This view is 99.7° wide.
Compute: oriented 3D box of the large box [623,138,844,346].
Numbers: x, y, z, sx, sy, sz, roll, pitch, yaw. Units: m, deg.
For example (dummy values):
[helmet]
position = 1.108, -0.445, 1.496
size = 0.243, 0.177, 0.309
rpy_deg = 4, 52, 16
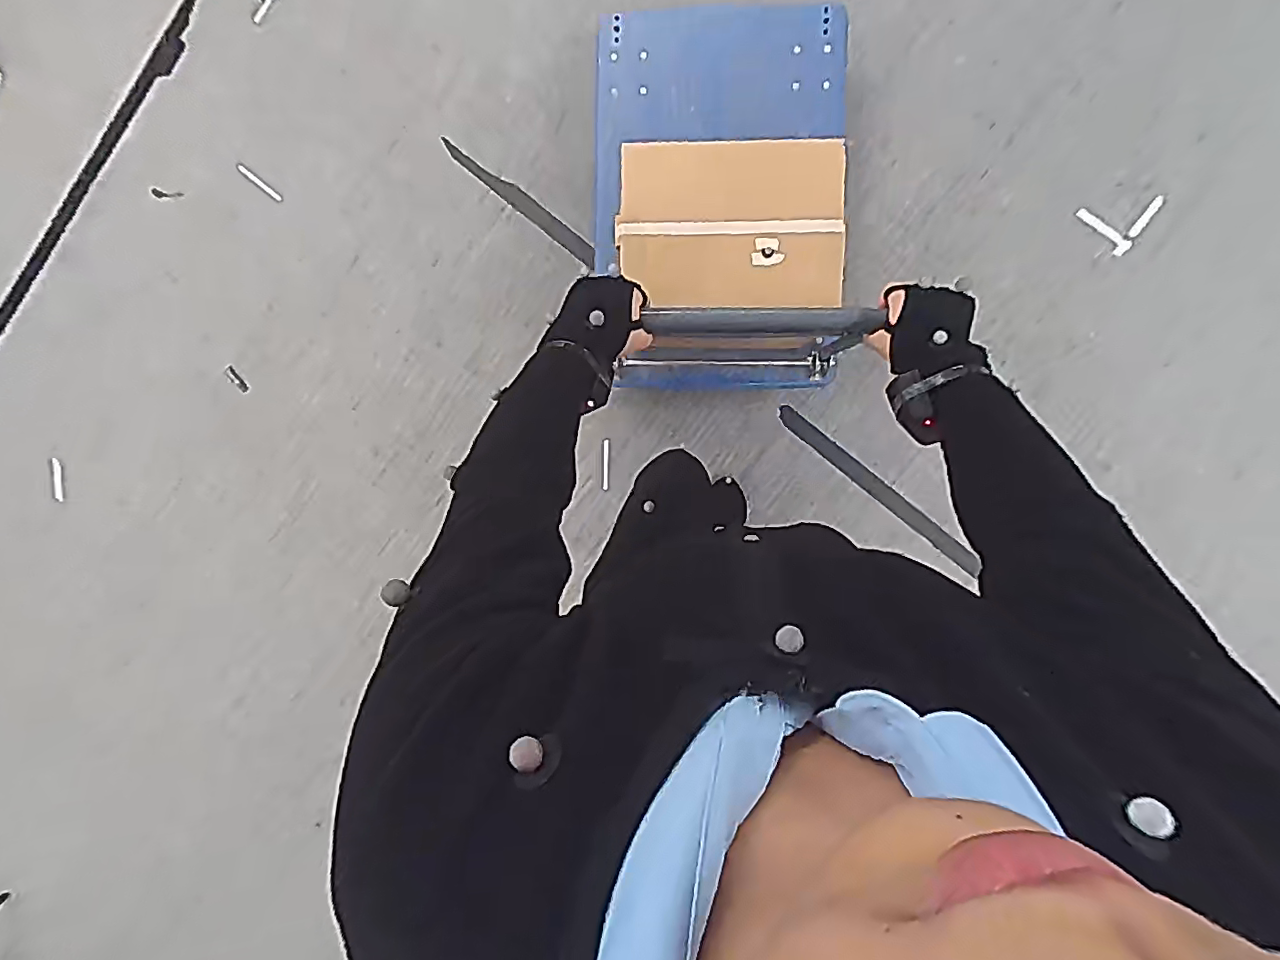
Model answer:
[large box]
position = 0.173, -0.469, 1.135
size = 0.408, 0.320, 0.320
rpy_deg = 0, 94, 2
